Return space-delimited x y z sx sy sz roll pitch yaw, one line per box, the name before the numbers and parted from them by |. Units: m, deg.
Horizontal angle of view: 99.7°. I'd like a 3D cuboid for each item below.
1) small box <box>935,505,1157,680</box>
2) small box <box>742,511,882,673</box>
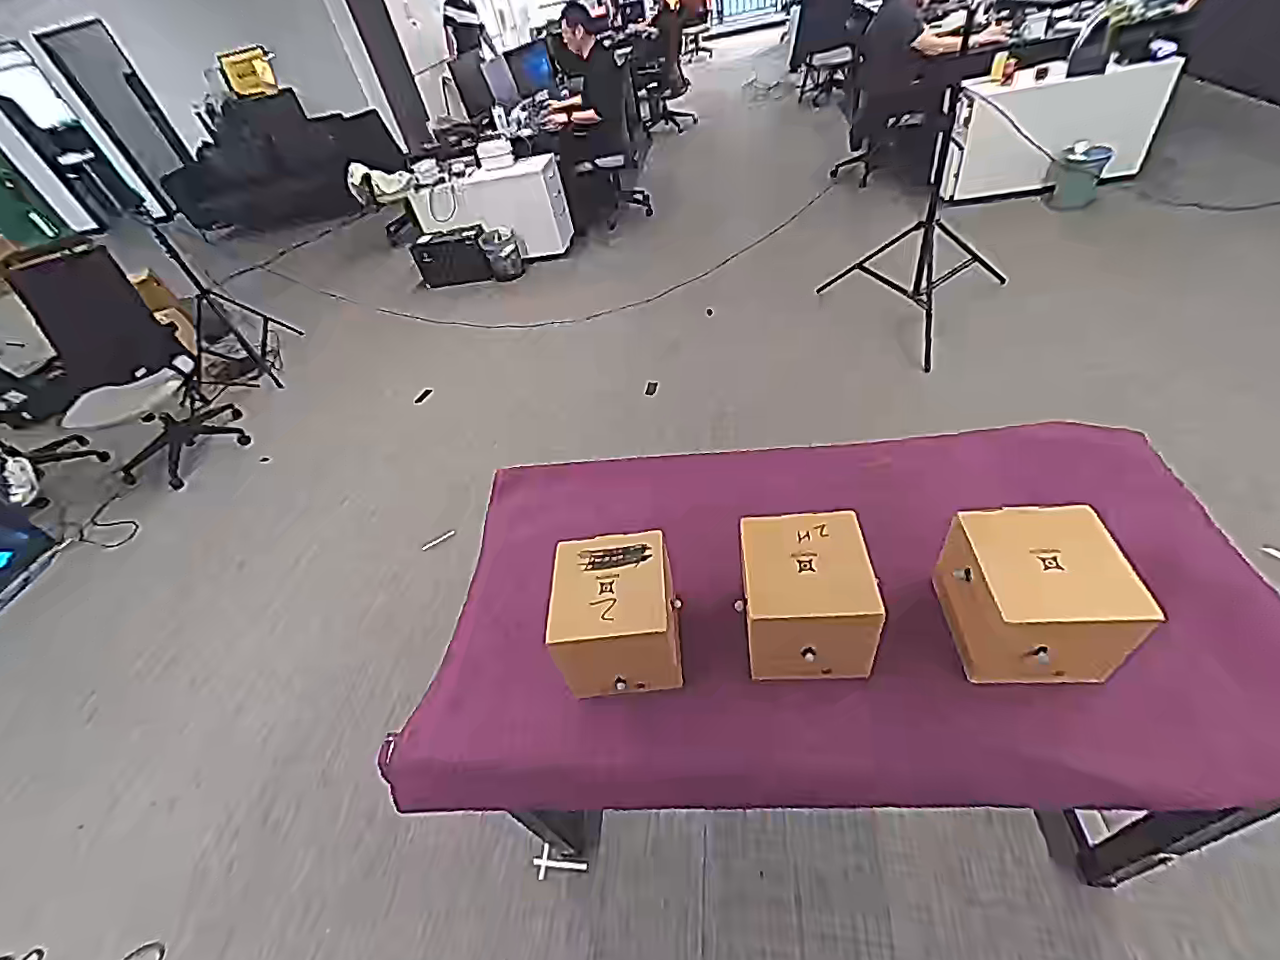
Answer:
small box | 0.525 0.157 0.734 0.168 0.176 0.179 -4 44 10
small box | 0.240 0.168 0.792 0.168 0.176 0.179 -4 43 9
